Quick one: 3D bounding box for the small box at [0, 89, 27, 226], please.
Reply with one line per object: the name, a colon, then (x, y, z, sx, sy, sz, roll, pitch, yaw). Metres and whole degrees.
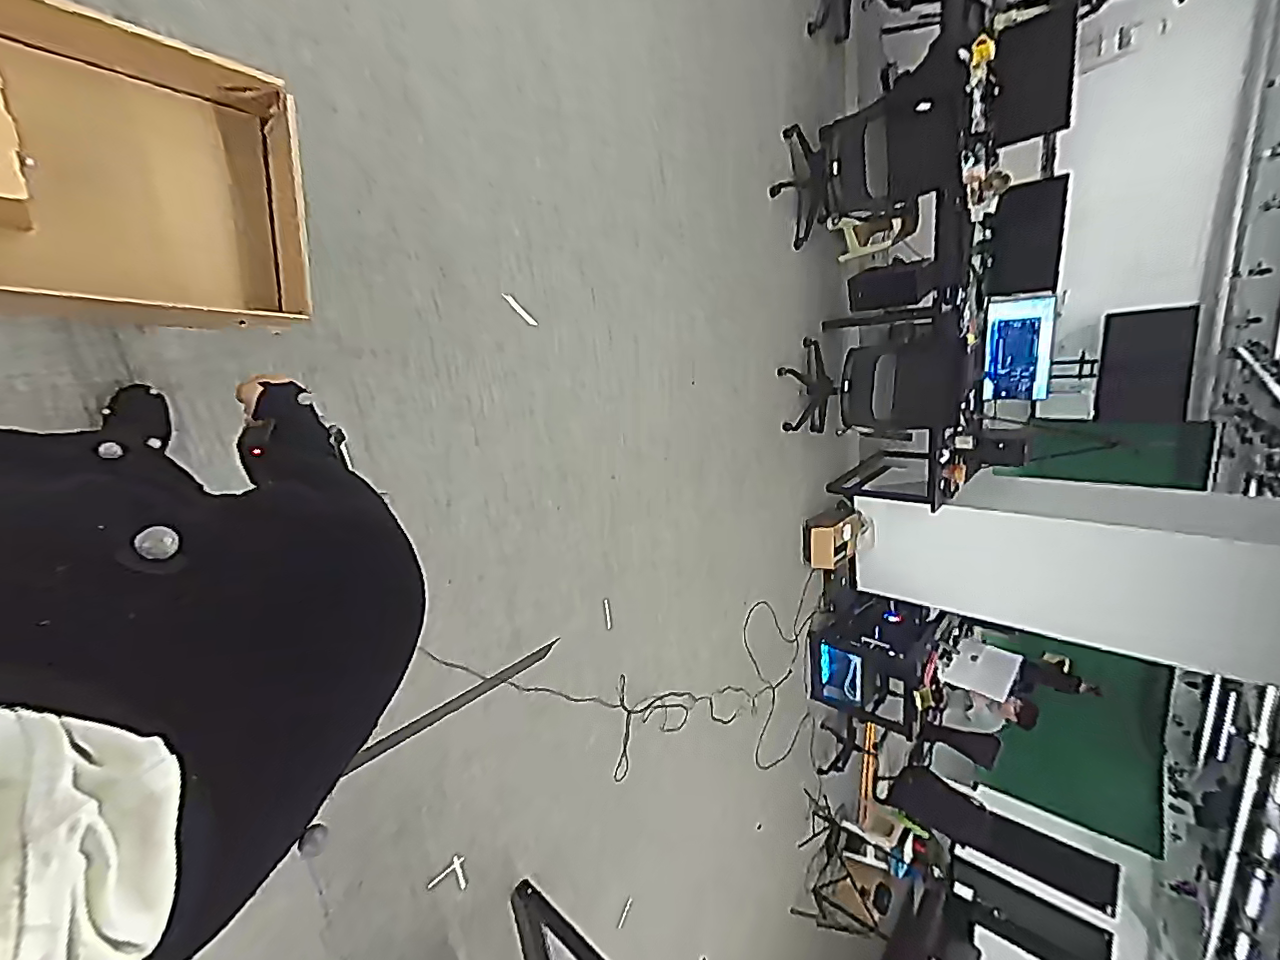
small box: (-0.925, -0.437, 0.685, 0.179, 0.176, 0.168, -14, 106, -47)
